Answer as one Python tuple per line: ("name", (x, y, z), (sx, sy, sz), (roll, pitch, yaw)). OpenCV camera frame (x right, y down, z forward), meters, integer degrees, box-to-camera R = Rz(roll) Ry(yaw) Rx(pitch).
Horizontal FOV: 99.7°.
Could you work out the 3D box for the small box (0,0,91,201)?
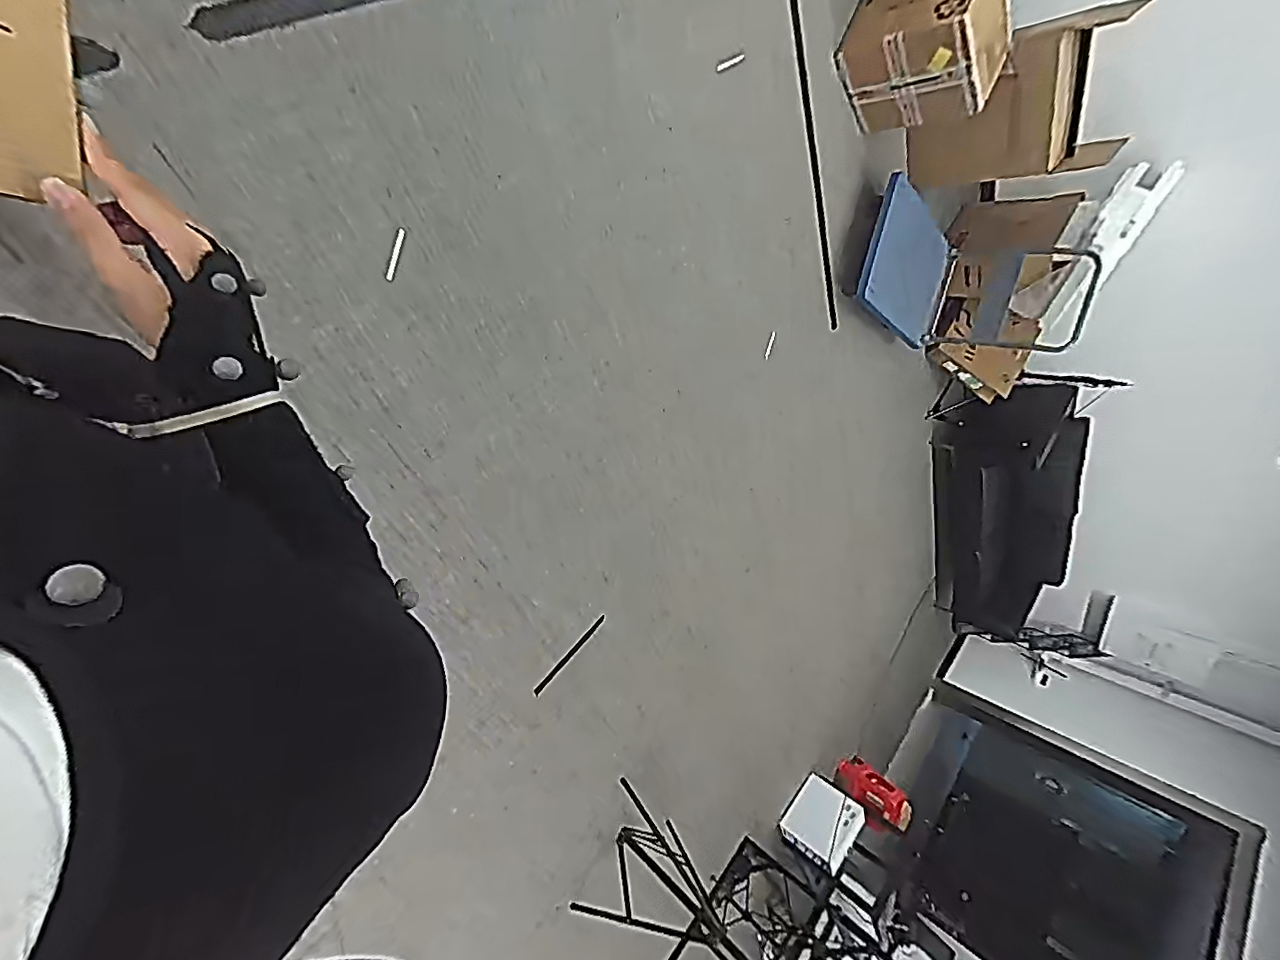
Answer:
("small box", (-0.413, -0.254, 0.276), (0.179, 0.176, 0.168), (-6, 113, -48))
